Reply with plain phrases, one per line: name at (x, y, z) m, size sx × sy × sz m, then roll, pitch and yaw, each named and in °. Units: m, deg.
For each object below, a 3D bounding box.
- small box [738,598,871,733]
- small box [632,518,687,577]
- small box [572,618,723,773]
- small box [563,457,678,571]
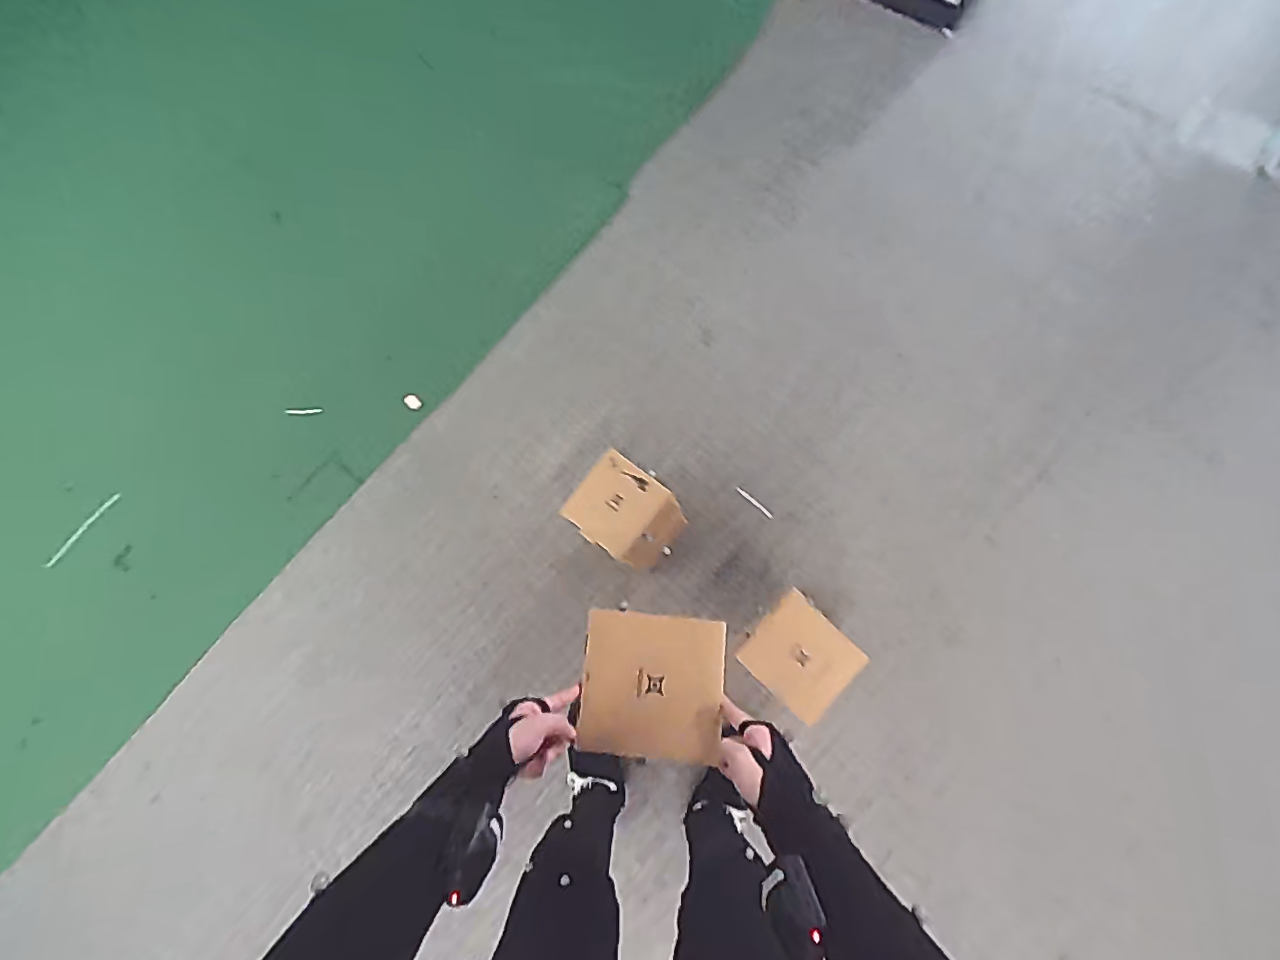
small box at (0.305, 0.350, 1.045) m, size 0.179 × 0.176 × 0.168 m, roll 42°, pitch 87°, yaw 16°
small box at (-0.002, 0.125, 1.332) m, size 0.179 × 0.176 × 0.168 m, roll 40°, pitch 86°, yaw 16°
small box at (0.018, 0.280, 0.729) m, size 0.179 × 0.176 × 0.168 m, roll 2°, pitch 72°, yaw 7°
small box at (-0.032, 0.082, 1.177) m, size 0.168 × 0.176 × 0.179 m, roll 37°, pitch 86°, yaw 16°
